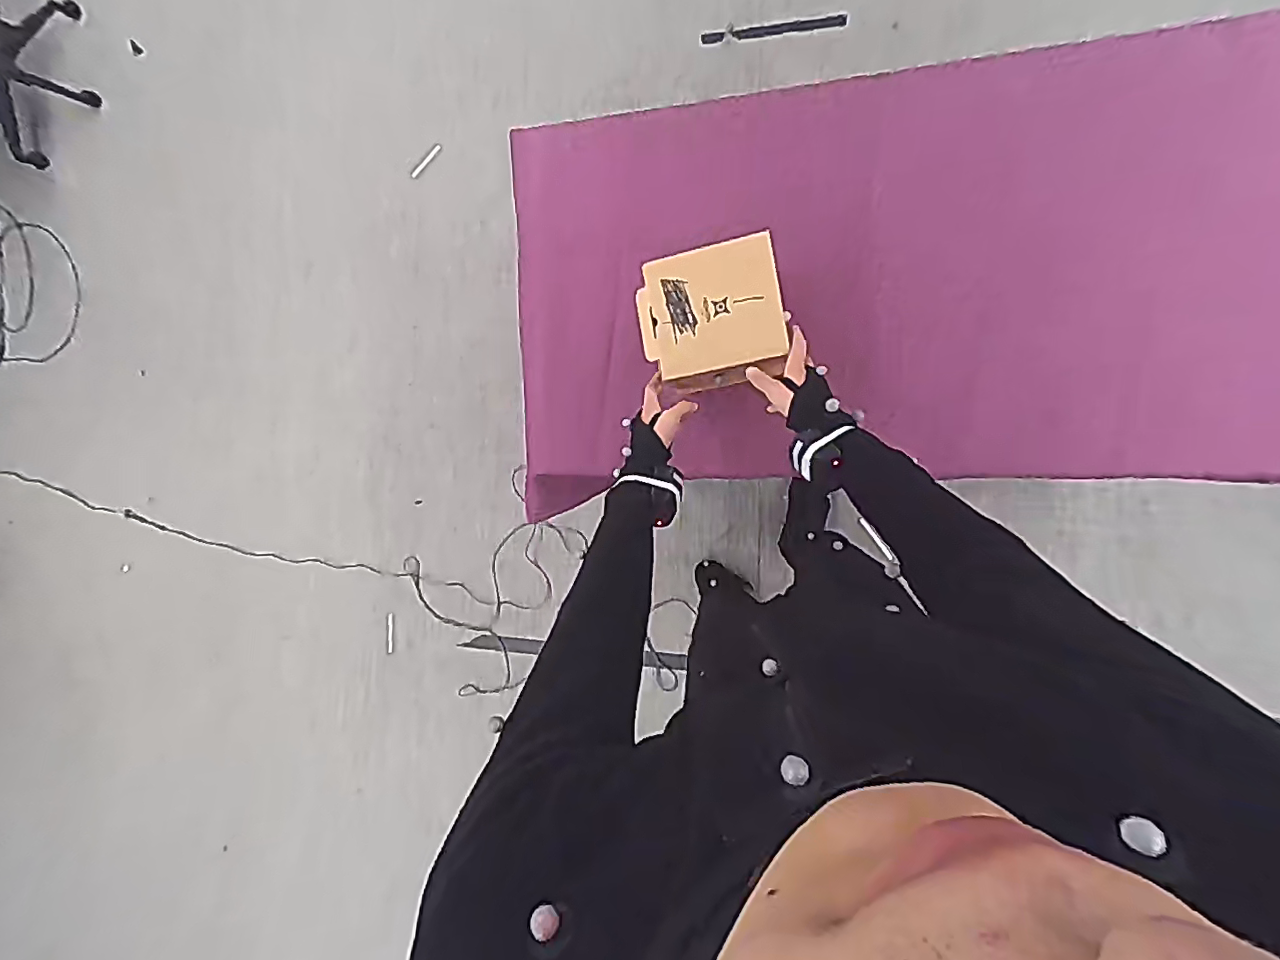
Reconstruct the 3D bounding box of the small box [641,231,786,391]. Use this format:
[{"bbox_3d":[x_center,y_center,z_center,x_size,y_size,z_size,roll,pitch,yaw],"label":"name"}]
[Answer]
[{"bbox_3d":[0.114,-0.235,0.802,0.179,0.176,0.168,-10,90,12],"label":"small box"}]
